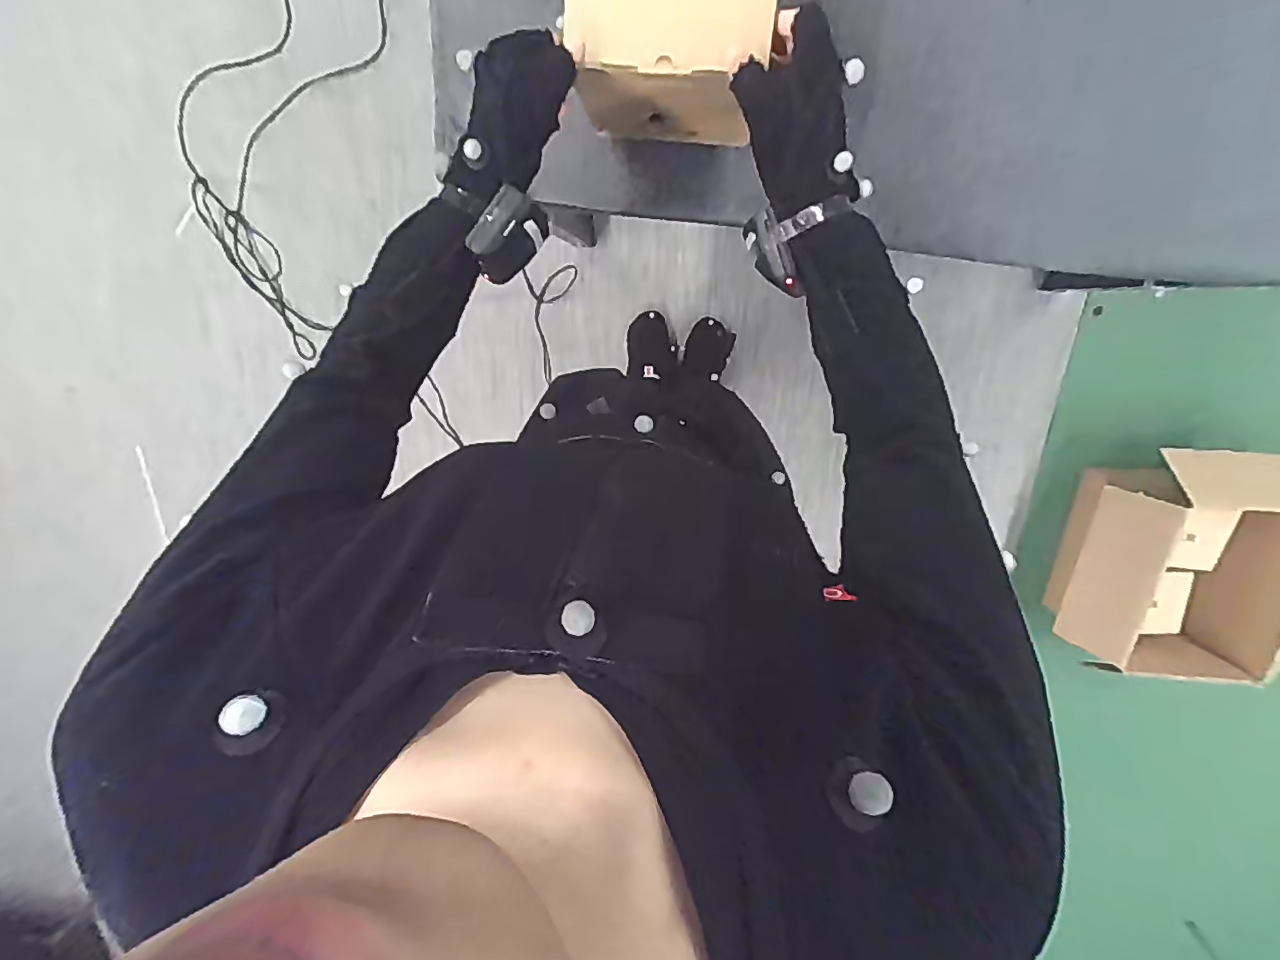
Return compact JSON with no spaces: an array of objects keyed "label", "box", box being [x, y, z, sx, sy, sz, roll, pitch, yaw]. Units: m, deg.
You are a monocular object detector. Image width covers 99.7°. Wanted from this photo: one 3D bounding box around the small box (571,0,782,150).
[{"label":"small box","box":[0.038,-0.429,0.491,0.168,0.176,0.179,6,106,4]}]
